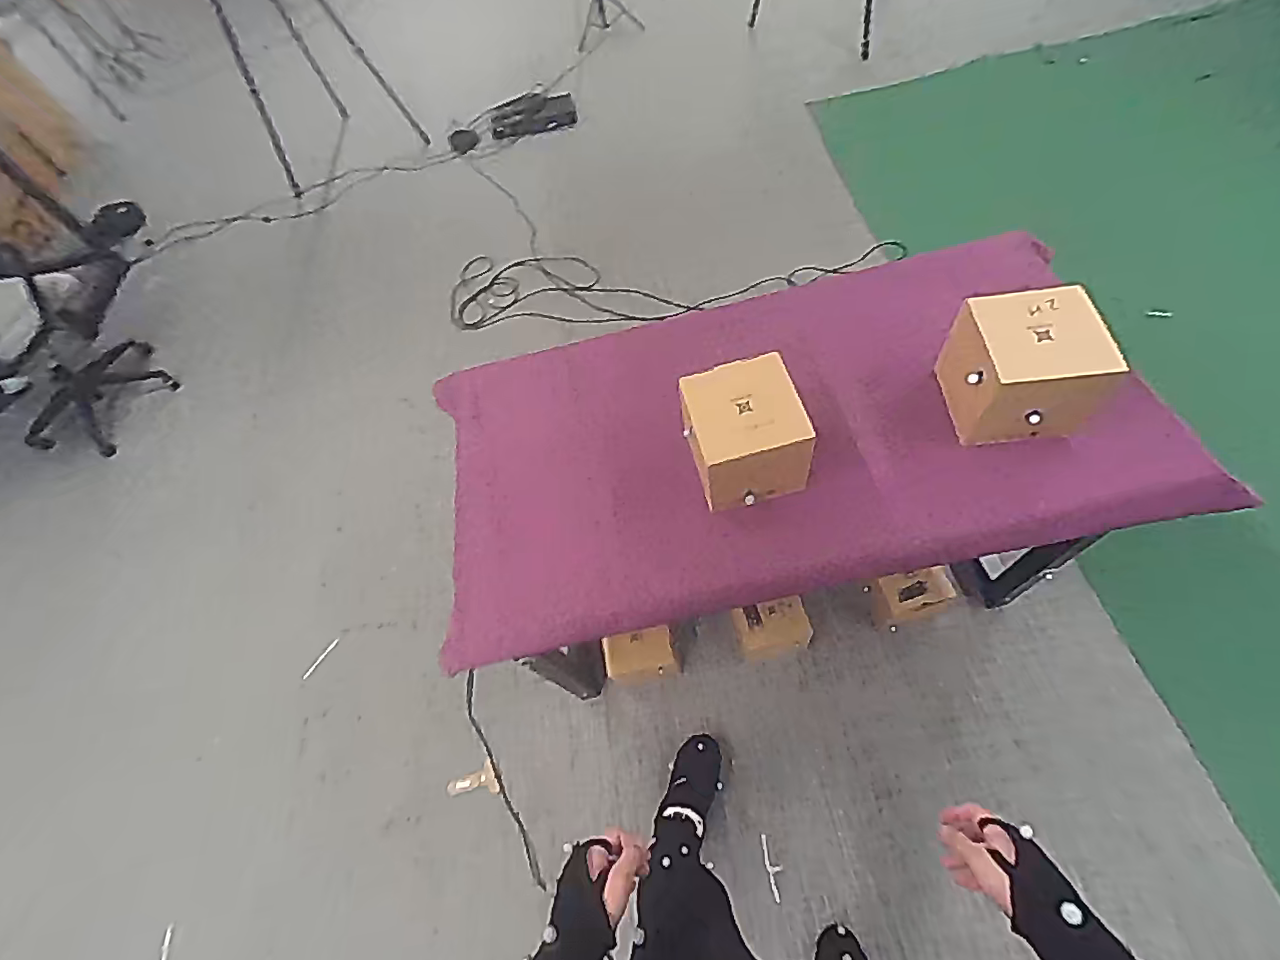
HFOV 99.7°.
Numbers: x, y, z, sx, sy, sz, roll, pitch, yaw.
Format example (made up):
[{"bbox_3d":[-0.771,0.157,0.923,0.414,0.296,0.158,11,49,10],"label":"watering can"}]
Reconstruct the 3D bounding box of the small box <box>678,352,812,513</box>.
[{"bbox_3d":[0.165,-0.072,0.883,0.168,0.176,0.179,-15,59,3],"label":"small box"}]

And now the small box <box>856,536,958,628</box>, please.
[{"bbox_3d":[0.692,0.277,1.425,0.168,0.176,0.179,-16,58,2],"label":"small box"}]

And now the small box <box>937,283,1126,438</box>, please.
[{"bbox_3d":[0.598,-0.178,0.856,0.168,0.176,0.179,-5,60,9],"label":"small box"}]

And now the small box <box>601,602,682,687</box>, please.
[{"bbox_3d":[0.006,0.451,1.463,0.179,0.176,0.168,-14,59,3],"label":"small box"}]
